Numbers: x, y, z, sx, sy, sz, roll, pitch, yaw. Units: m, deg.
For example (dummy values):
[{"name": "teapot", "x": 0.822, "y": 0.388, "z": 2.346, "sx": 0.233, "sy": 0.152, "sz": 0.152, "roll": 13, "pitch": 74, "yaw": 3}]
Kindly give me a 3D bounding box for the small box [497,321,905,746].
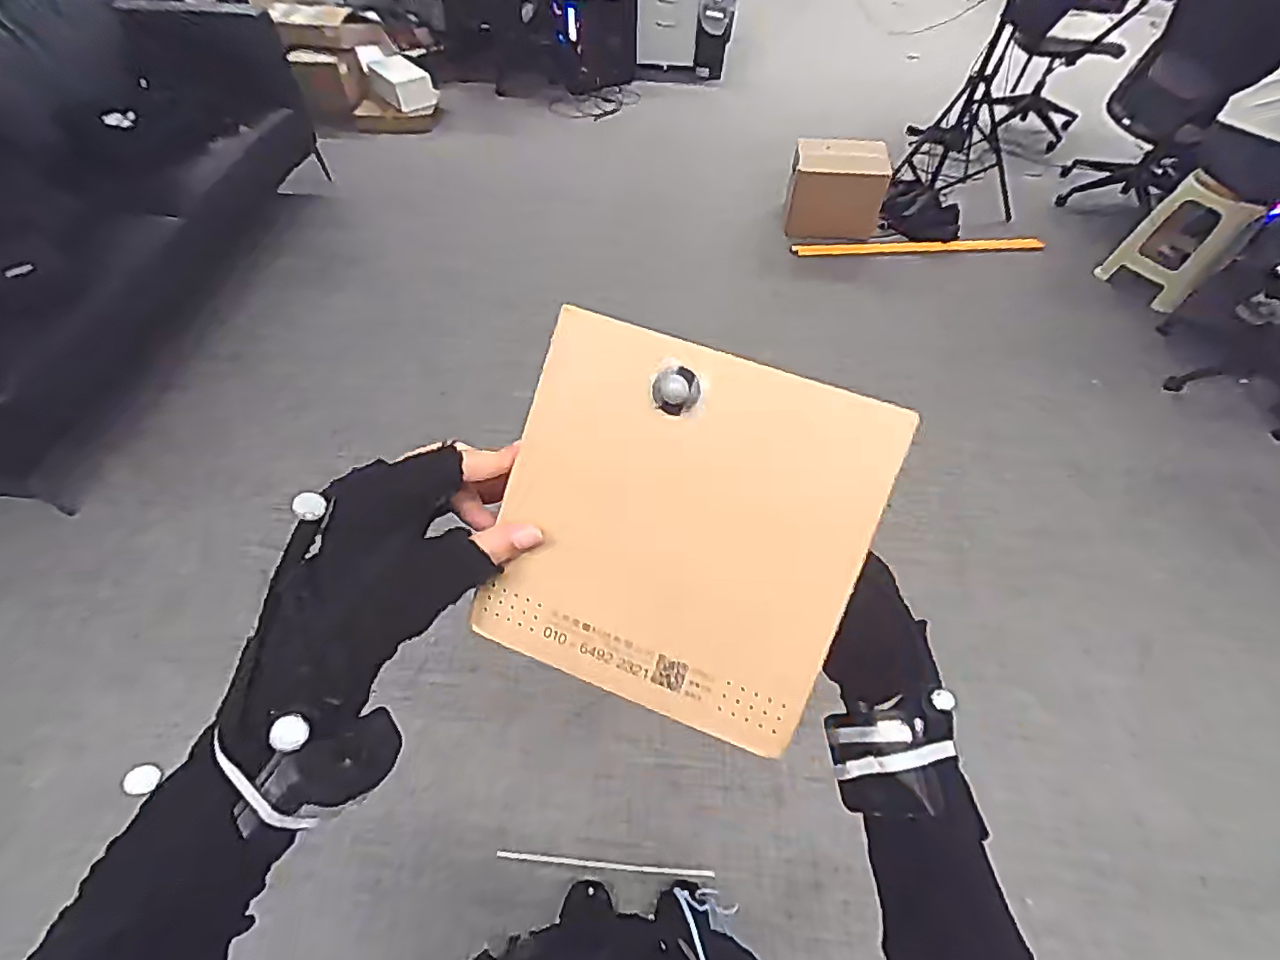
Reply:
[{"name": "small box", "x": 0.033, "y": 0.025, "z": 0.341, "sx": 0.168, "sy": 0.179, "sz": 0.176, "roll": 19, "pitch": 95, "yaw": 10}]
